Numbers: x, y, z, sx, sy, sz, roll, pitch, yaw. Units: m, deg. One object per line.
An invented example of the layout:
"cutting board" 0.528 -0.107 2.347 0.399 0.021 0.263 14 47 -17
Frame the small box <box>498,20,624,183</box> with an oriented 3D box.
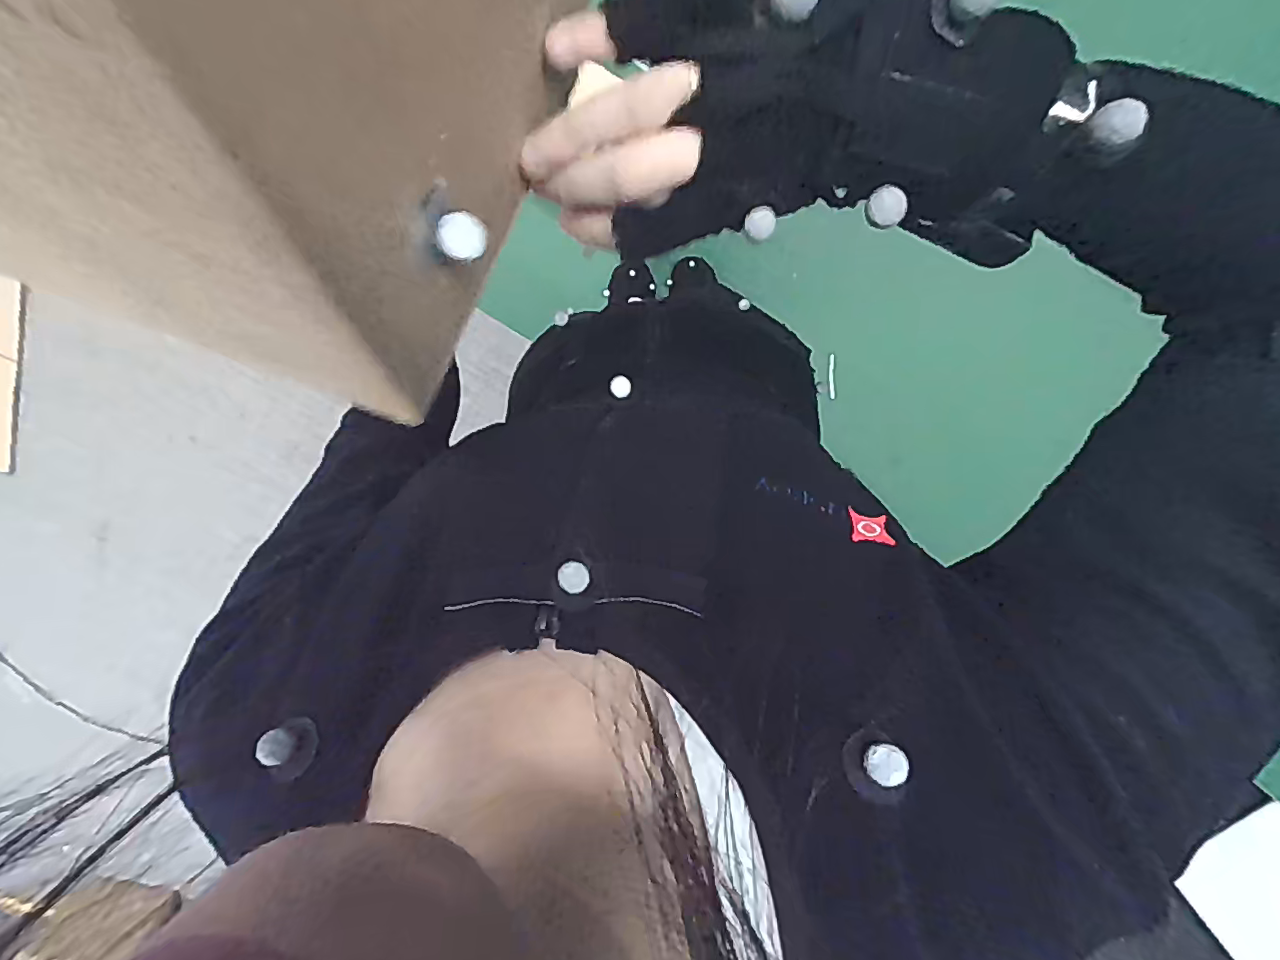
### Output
"small box" -0.139 -0.685 1.005 0.168 0.176 0.179 27 113 -9
